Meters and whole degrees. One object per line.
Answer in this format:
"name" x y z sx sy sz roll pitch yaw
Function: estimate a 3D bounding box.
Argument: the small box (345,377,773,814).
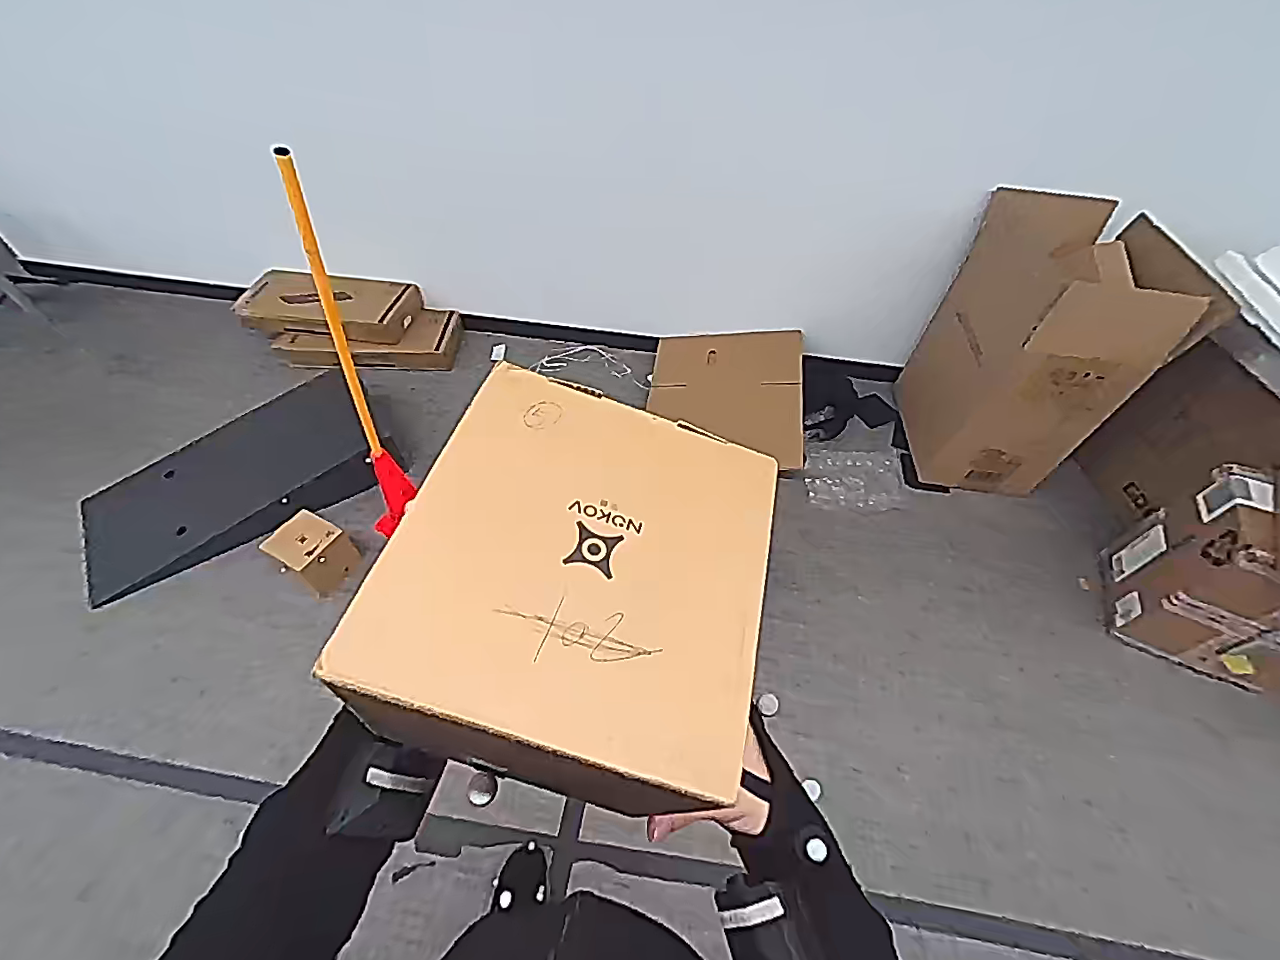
"small box" -0.039 0.078 0.325 0.168 0.176 0.179 20 55 -3
